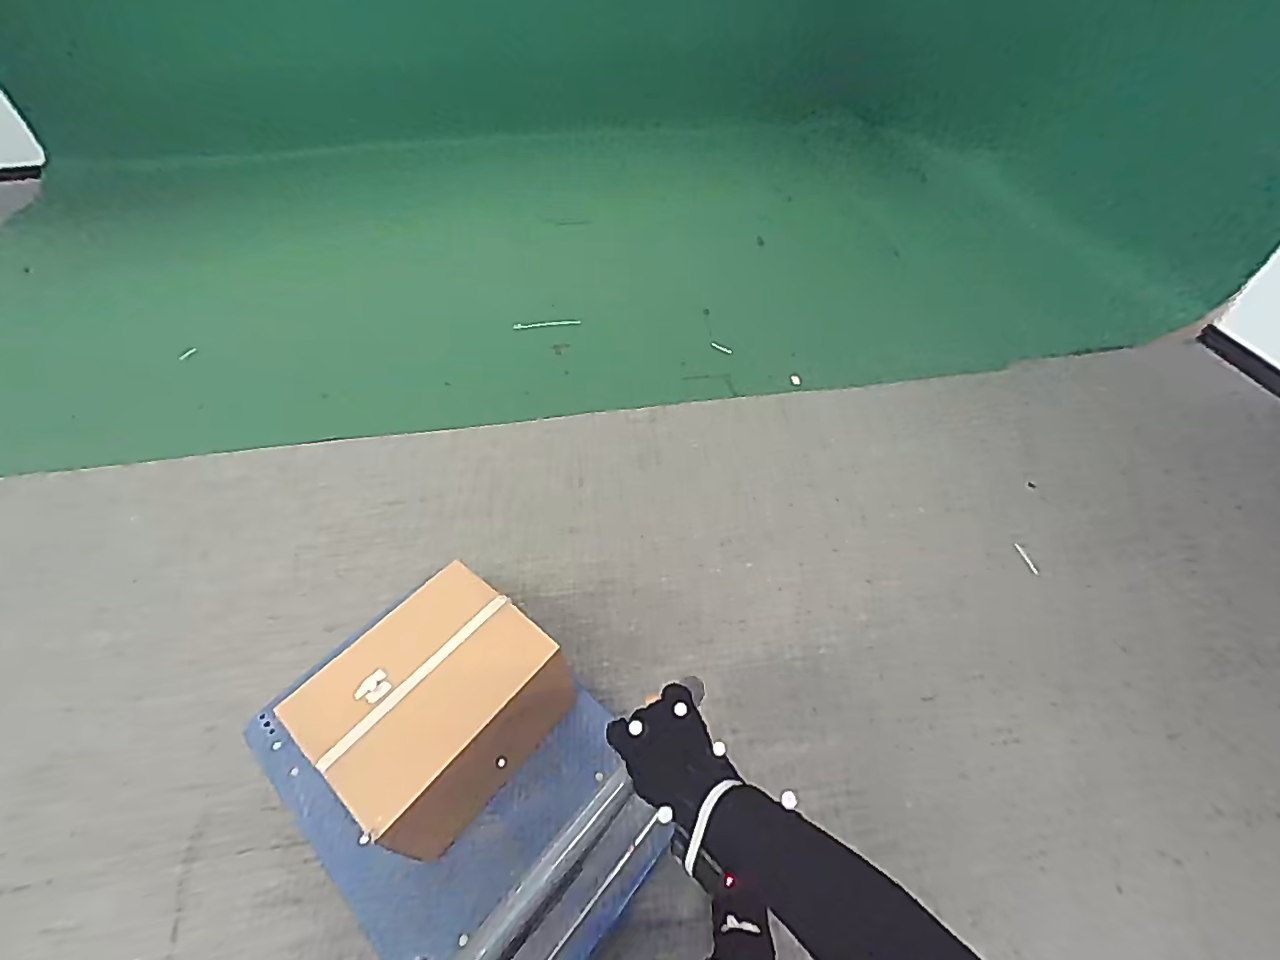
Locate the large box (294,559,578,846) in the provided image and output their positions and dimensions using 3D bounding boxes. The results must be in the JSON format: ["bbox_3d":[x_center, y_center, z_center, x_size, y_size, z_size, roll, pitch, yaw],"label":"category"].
[{"bbox_3d":[-0.382,0.452,1.121,0.320,0.320,0.408,31,58,25],"label":"large box"}]
